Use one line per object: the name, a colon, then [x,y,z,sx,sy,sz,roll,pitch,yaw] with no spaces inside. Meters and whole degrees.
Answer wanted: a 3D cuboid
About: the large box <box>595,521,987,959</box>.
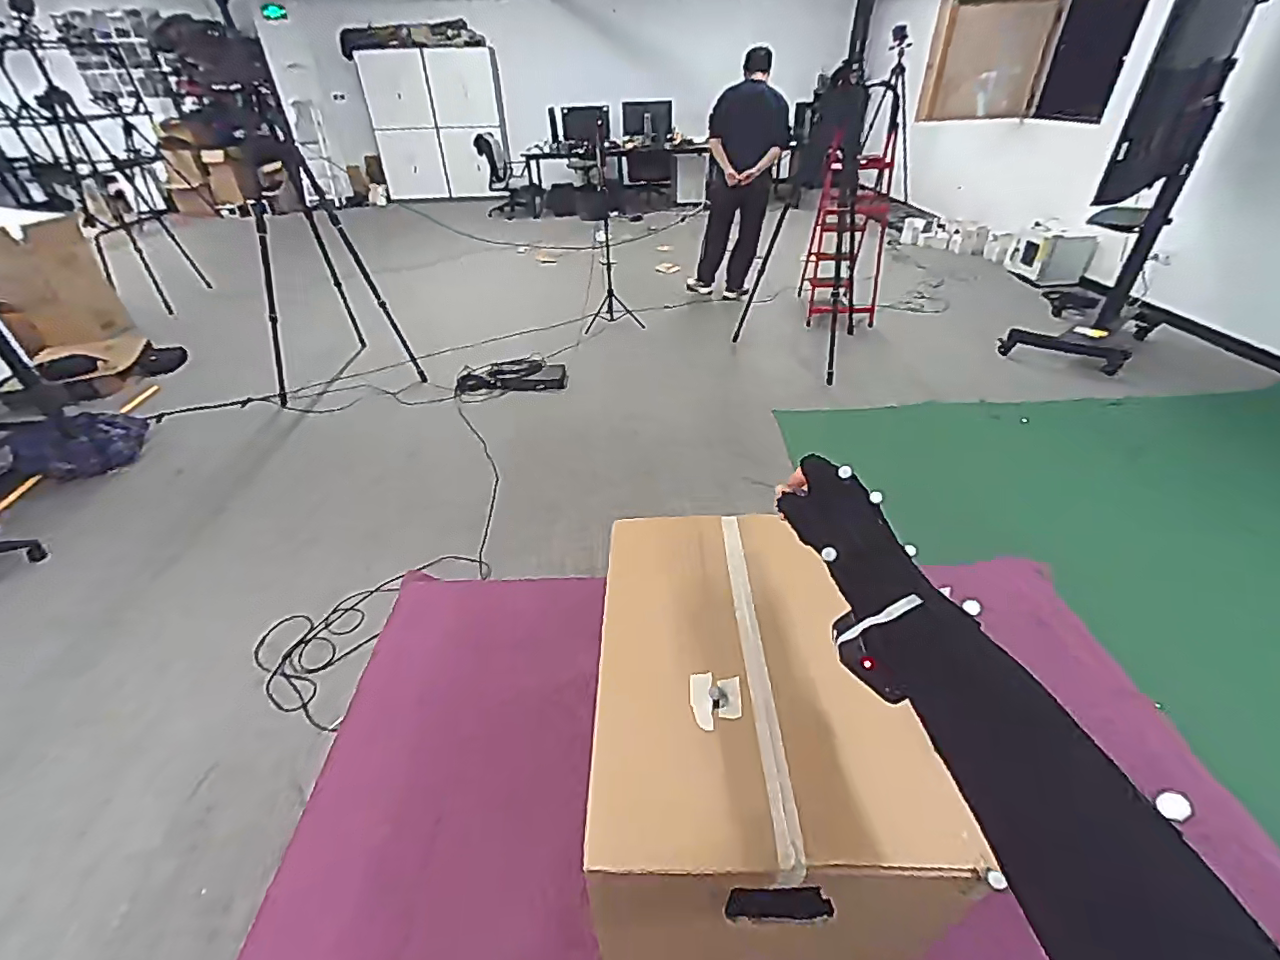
large box: [0.118,0.297,0.664,0.320,0.320,0.408,-1,37,1]
